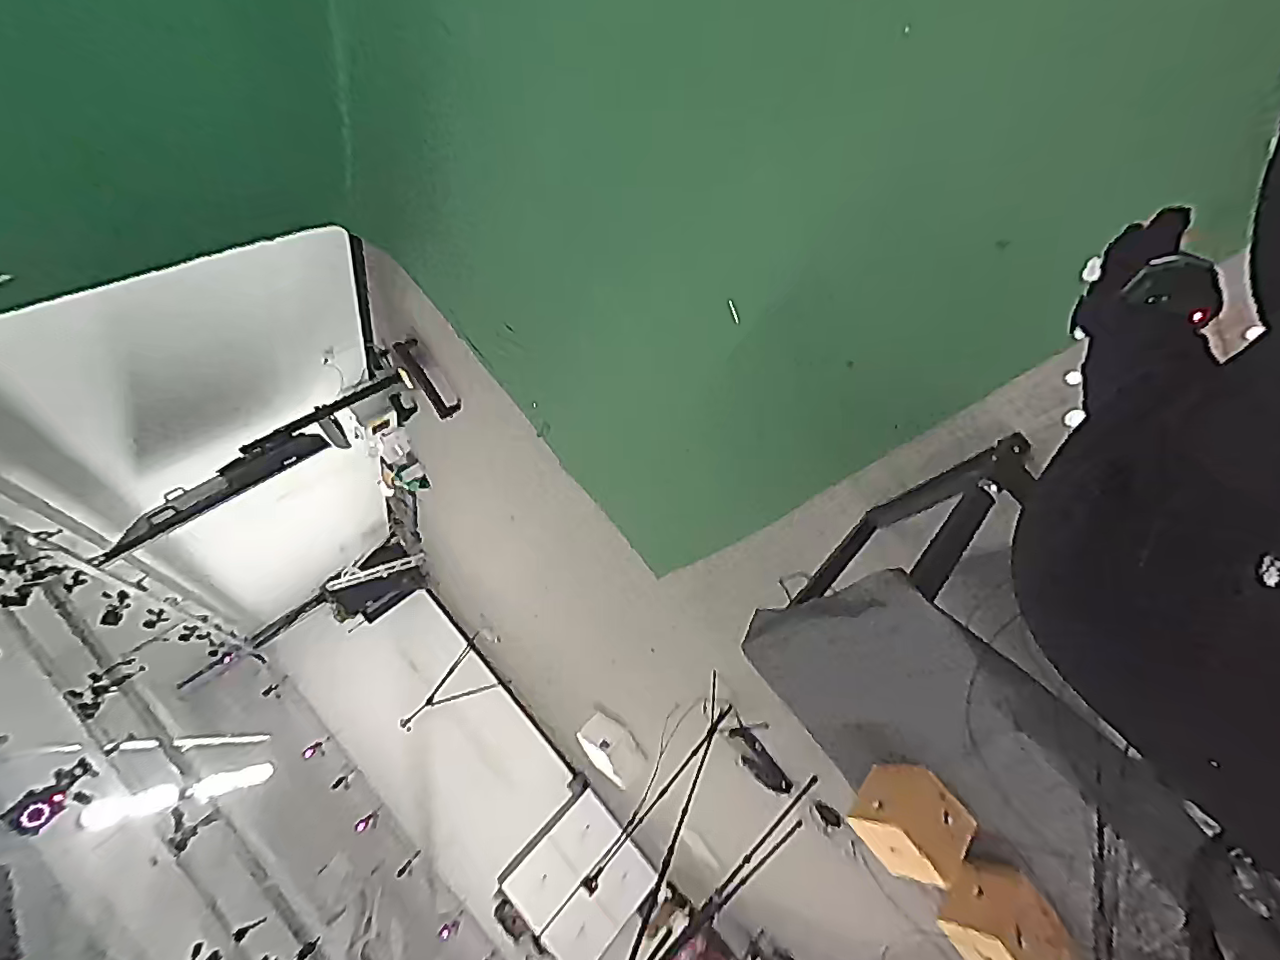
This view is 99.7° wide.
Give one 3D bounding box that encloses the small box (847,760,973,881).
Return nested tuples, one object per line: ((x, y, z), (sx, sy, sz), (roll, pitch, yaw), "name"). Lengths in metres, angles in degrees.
((0.639, 0.789, 1.277), (0.168, 0.176, 0.179), (49, 147, 5), "small box")

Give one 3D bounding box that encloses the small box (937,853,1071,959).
((0.831, 1.001, 1.235), (0.179, 0.176, 0.168), (50, 147, 4), "small box")
